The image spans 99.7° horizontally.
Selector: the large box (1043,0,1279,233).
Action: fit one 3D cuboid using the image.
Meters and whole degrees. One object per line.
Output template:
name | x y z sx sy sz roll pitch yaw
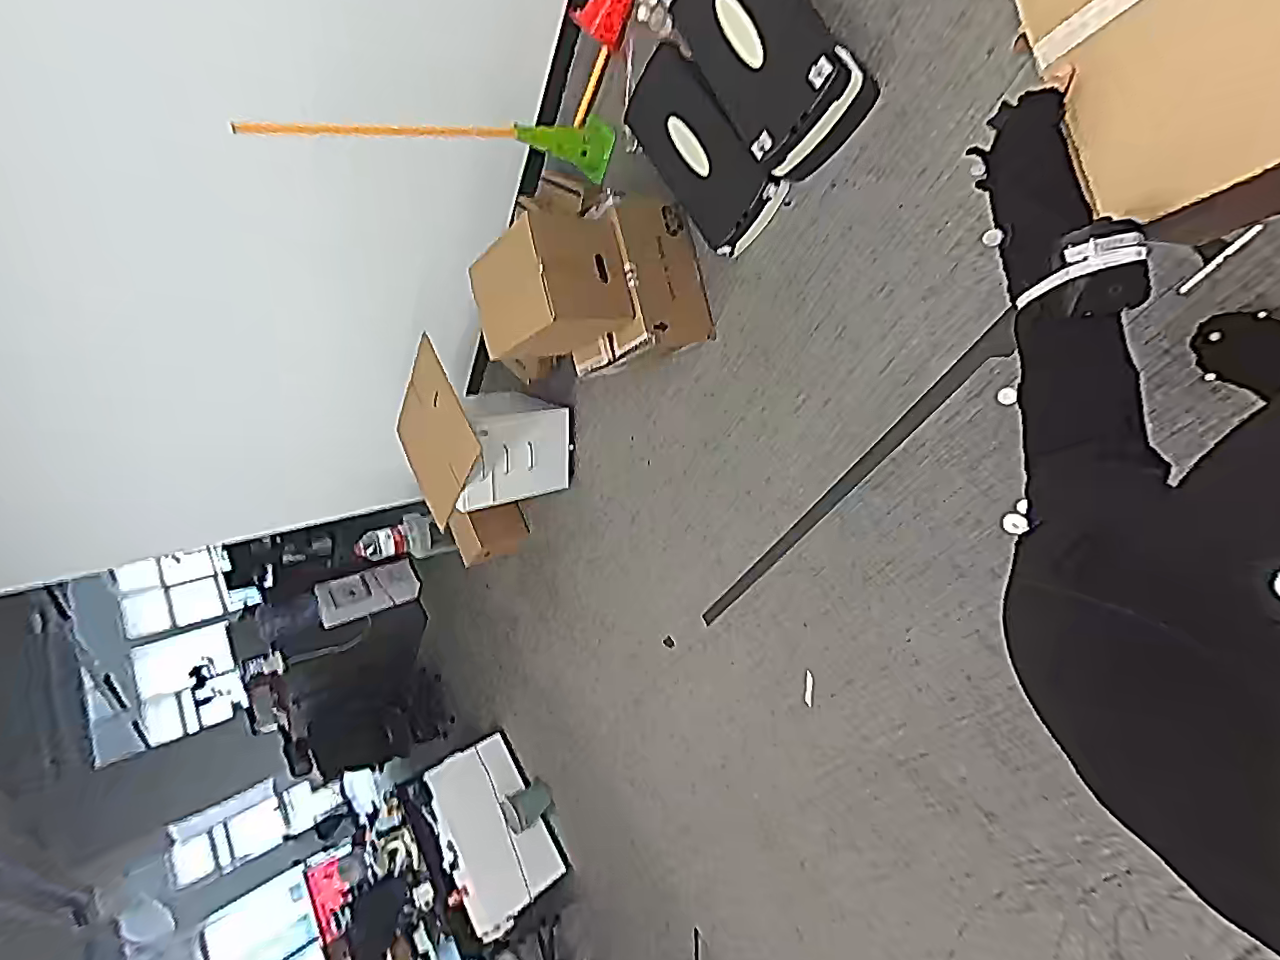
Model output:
large box | 0.555 -0.416 0.350 0.408 0.320 0.320 -18 89 56
